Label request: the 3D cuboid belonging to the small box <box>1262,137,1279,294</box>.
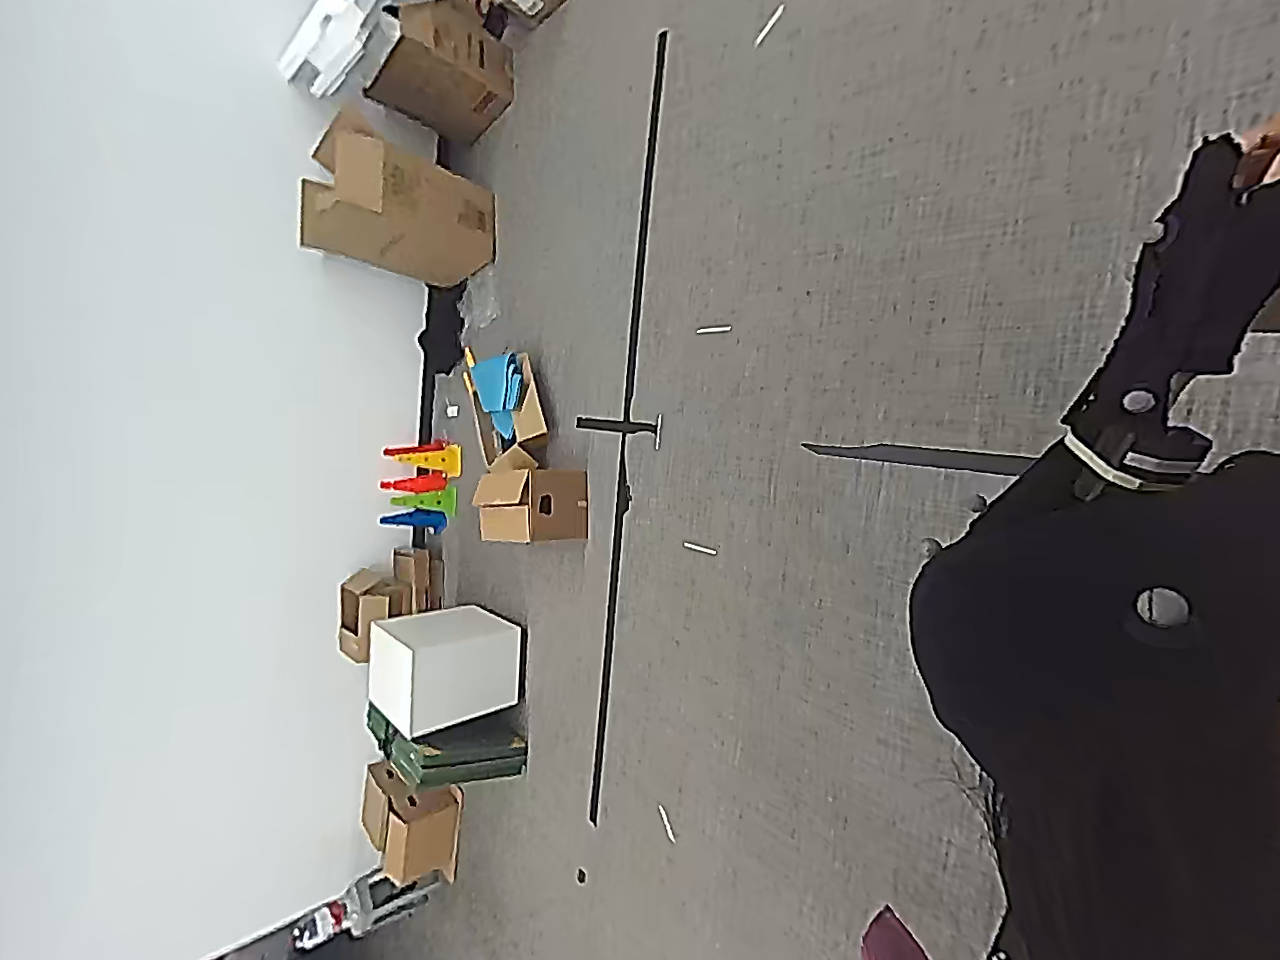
[{"bbox_3d":[0.499,-0.210,0.299,0.168,0.176,0.179,10,71,35],"label":"small box"}]
